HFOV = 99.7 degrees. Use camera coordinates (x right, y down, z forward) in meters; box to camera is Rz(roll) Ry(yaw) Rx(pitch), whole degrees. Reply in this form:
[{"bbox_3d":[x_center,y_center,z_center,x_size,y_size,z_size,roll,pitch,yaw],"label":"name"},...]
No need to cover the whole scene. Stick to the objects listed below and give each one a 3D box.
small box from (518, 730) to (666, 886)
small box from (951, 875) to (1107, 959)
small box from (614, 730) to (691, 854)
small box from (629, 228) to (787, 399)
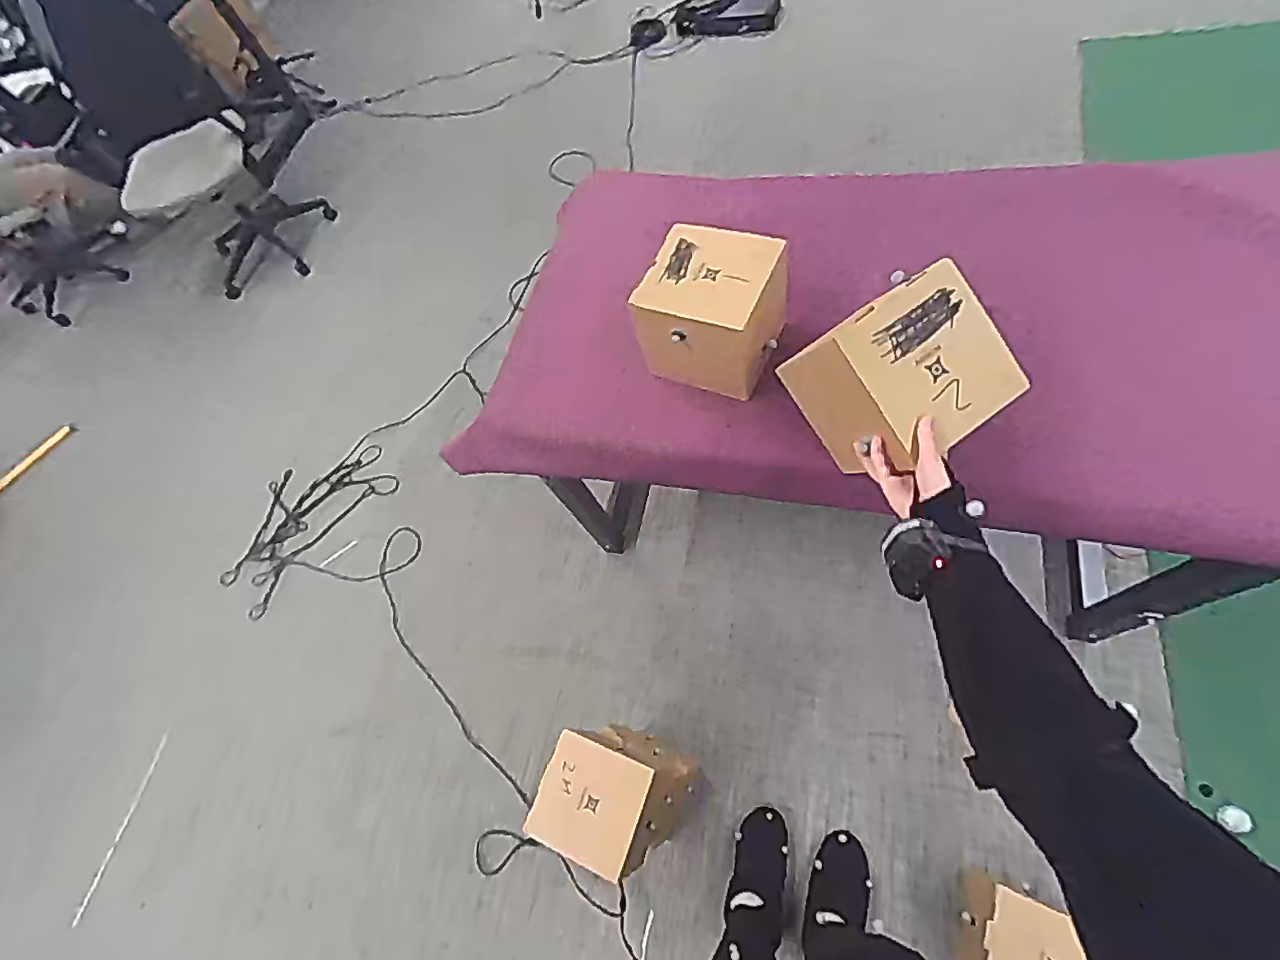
[{"bbox_3d":[-0.070,0.548,0.928,0.179,0.176,0.168,15,67,22],"label":"small box"},{"bbox_3d":[0.681,0.844,0.966,0.179,0.176,0.168,16,69,21],"label":"small box"},{"bbox_3d":[0.002,0.689,1.213,0.168,0.176,0.179,23,72,24],"label":"small box"},{"bbox_3d":[0.110,-0.248,0.824,0.179,0.176,0.168,21,71,21],"label":"small box"}]
